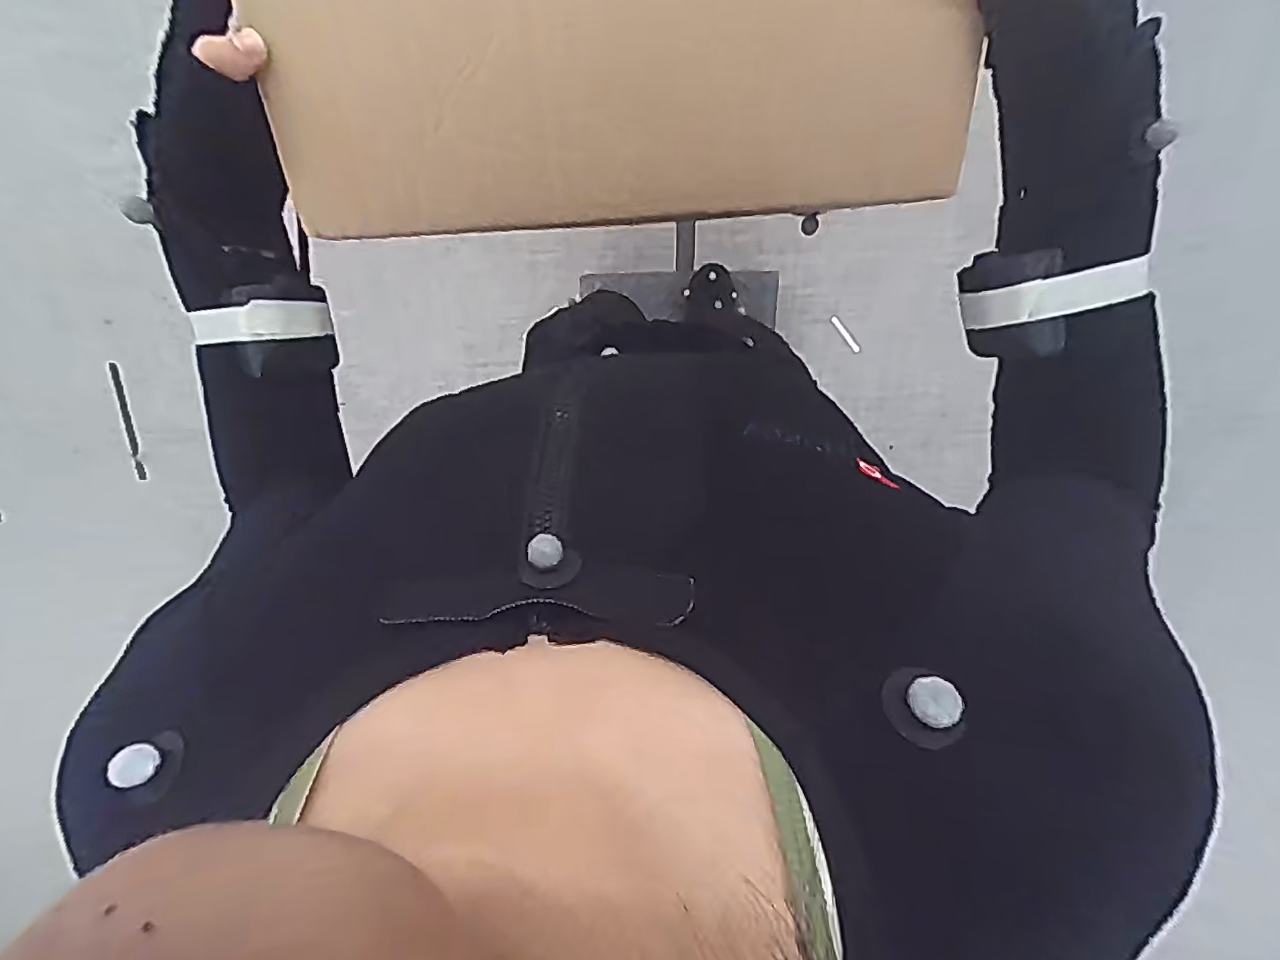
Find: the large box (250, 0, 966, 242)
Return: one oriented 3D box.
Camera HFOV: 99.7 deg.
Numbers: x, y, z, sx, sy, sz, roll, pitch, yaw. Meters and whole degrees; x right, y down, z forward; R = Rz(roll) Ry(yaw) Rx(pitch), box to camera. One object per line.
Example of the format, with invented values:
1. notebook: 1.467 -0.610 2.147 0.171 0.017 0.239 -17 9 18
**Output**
1. large box: -0.015 -0.371 0.413 0.408 0.320 0.320 -2 115 4
